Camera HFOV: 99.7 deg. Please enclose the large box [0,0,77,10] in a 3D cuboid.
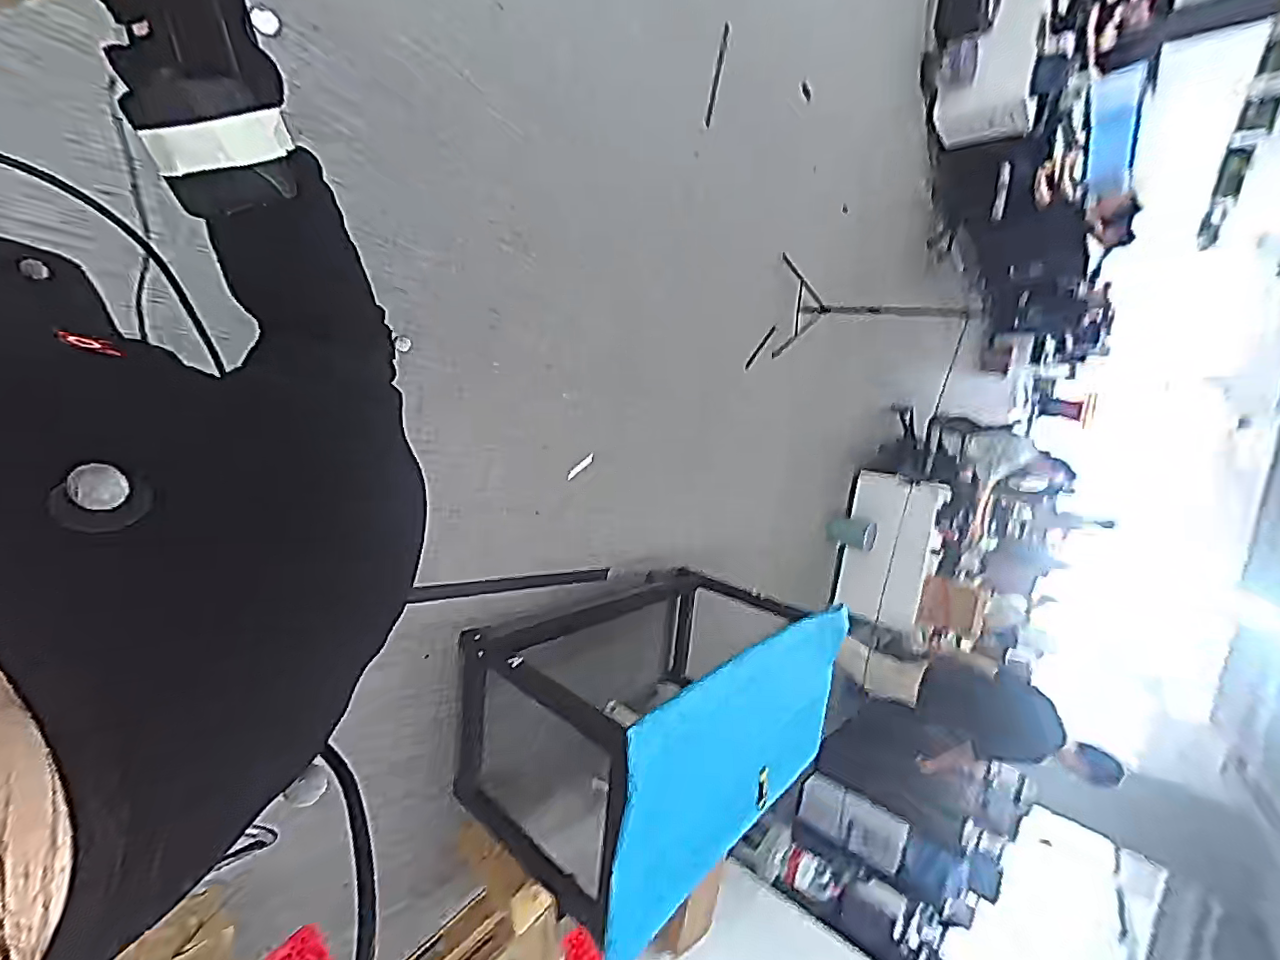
[{"bbox_3d":[-0.498,-0.323,0.131,0.408,0.320,0.320,-36,140,-38],"label":"large box"}]
